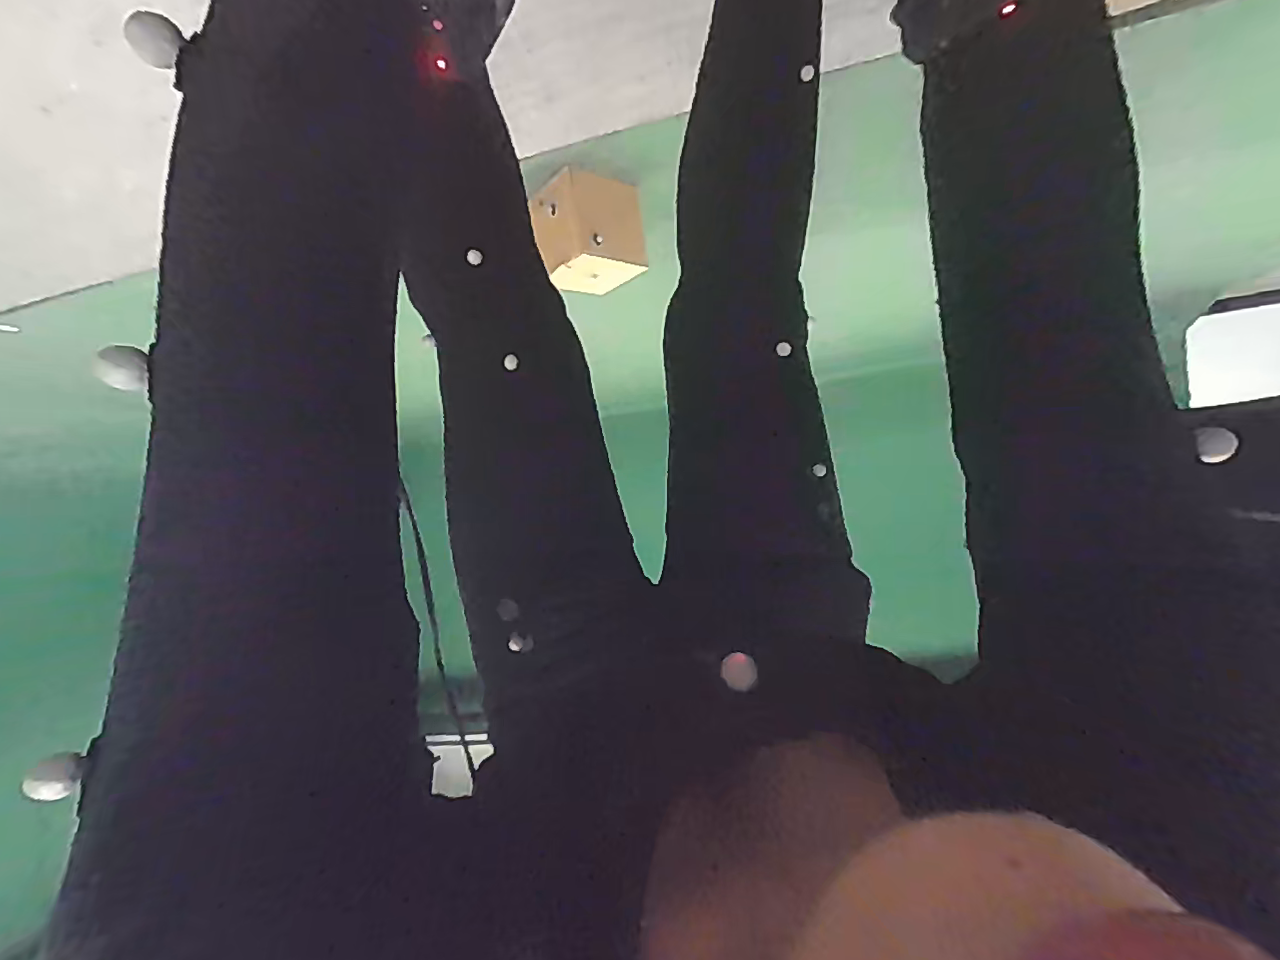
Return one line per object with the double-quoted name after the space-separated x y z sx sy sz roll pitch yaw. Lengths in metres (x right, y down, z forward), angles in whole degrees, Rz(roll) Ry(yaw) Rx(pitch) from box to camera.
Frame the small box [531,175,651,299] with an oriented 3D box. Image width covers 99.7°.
-0.103 -0.488 1.103 0.179 0.176 0.168 -7 180 -41 "small box"
